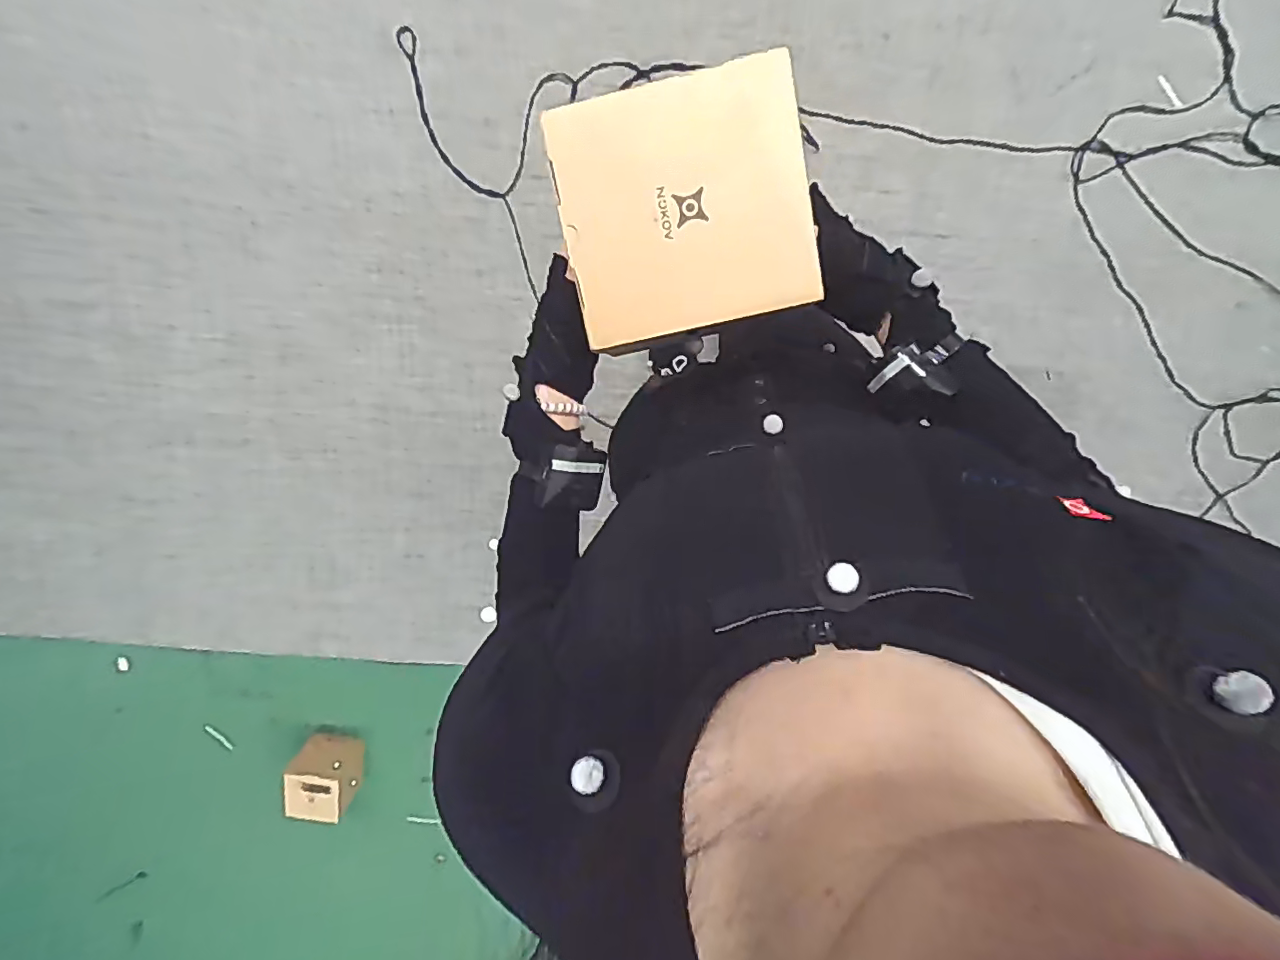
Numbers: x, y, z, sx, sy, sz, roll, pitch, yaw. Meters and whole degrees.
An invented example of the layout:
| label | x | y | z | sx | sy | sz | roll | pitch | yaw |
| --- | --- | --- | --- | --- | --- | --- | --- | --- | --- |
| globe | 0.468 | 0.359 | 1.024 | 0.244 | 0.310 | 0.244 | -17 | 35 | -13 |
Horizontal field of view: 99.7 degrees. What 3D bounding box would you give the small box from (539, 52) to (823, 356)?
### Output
| label | x | y | z | sx | sy | sz | roll | pitch | yaw |
| --- | --- | --- | --- | --- | --- | --- | --- | --- | --- |
| small box | 0.035 | -0.205 | 0.454 | 0.179 | 0.176 | 0.168 | -11 | 102 | 7 |
